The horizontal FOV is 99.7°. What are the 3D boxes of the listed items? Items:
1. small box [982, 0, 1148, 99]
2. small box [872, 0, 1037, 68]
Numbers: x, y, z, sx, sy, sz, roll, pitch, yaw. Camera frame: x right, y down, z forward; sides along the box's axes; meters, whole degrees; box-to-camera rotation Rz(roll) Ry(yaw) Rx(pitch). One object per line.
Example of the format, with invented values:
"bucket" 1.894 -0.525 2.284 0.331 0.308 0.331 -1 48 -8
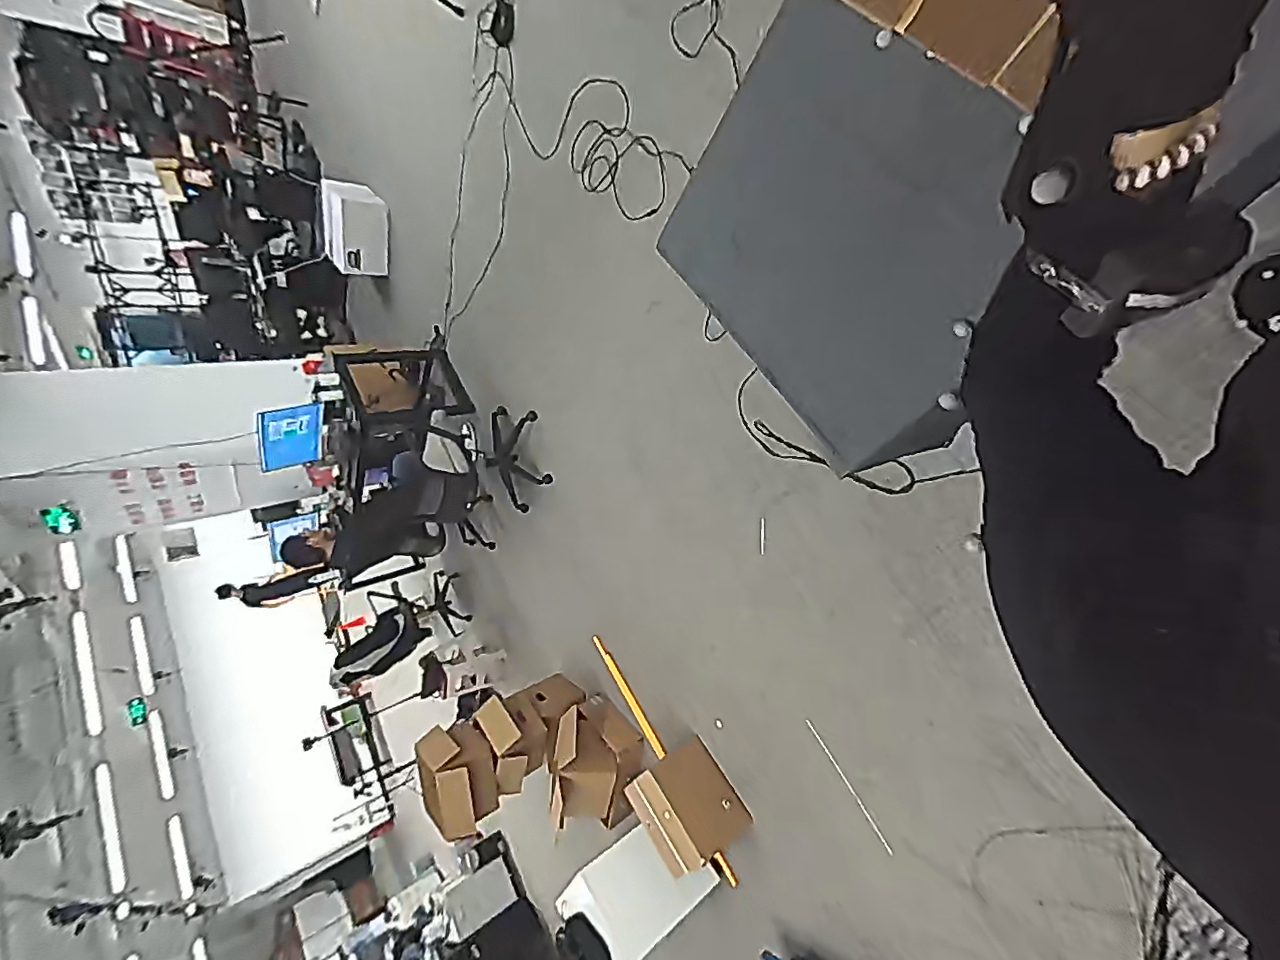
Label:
"small box" 0.385 -0.512 0.525 0.179 0.176 0.168 59 139 19
"small box" 0.257 -0.481 0.429 0.168 0.176 0.179 59 139 22
